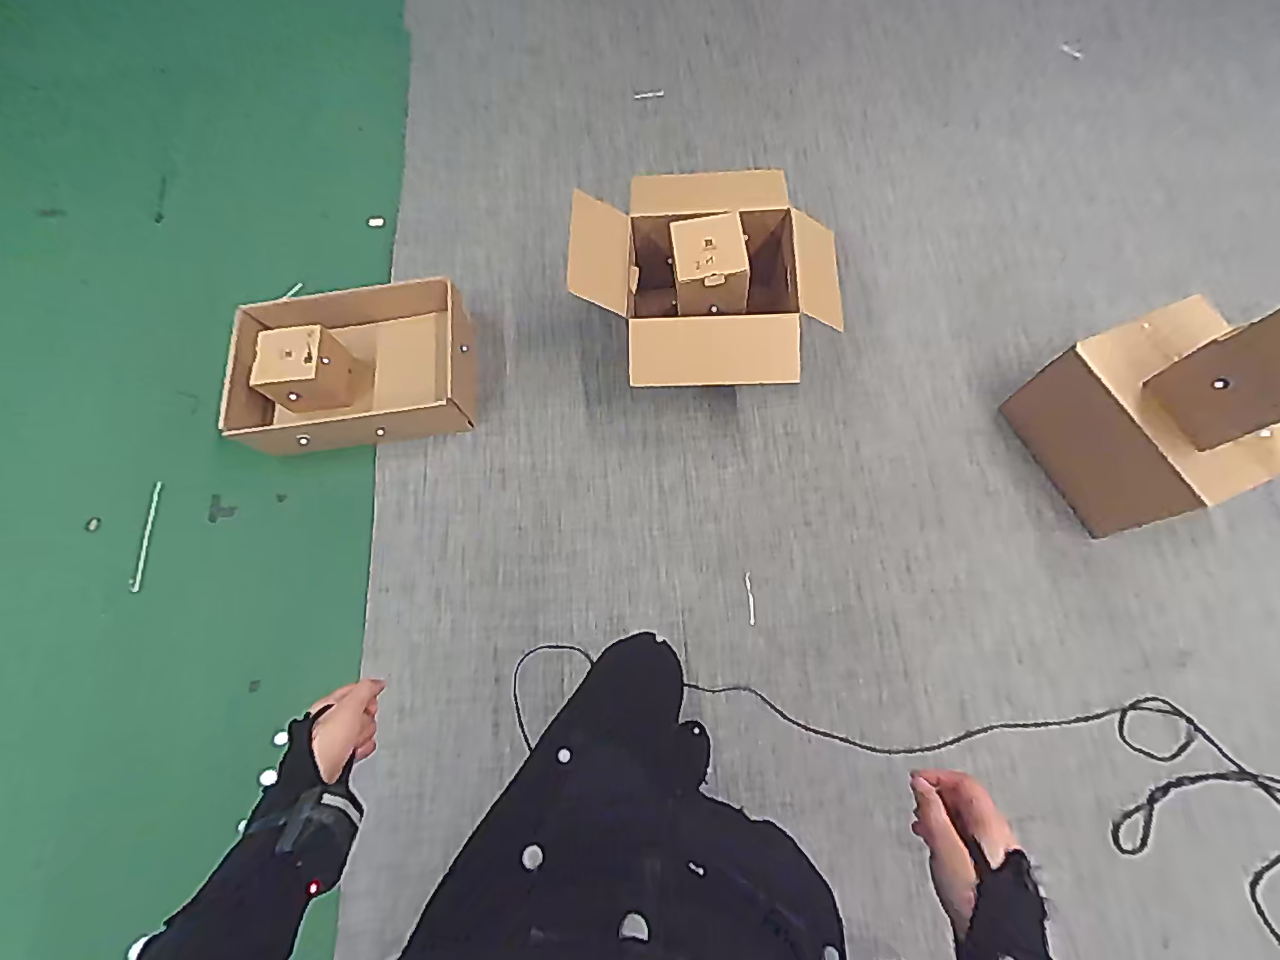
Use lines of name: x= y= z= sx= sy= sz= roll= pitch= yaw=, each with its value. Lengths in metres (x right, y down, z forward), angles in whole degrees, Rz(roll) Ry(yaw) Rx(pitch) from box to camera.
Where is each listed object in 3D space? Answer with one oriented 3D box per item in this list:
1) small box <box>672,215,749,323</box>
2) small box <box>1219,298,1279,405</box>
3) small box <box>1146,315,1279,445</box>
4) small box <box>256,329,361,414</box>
small box: x=0.171 y=-0.519 z=1.345 sx=0.168 sy=0.176 sz=0.179 roll=-8 pitch=71 yaw=5
small box: x=1.128 y=-0.235 z=0.869 sx=0.168 sy=0.176 sz=0.179 roll=-23 pitch=70 yaw=-1
small box: x=1.140 y=-0.195 z=1.027 sx=0.168 sy=0.176 sz=0.179 roll=-23 pitch=71 yaw=-1
small box: x=-0.916 y=-0.295 z=1.507 sx=0.179 sy=0.176 sz=0.168 roll=-6 pitch=70 yaw=2
